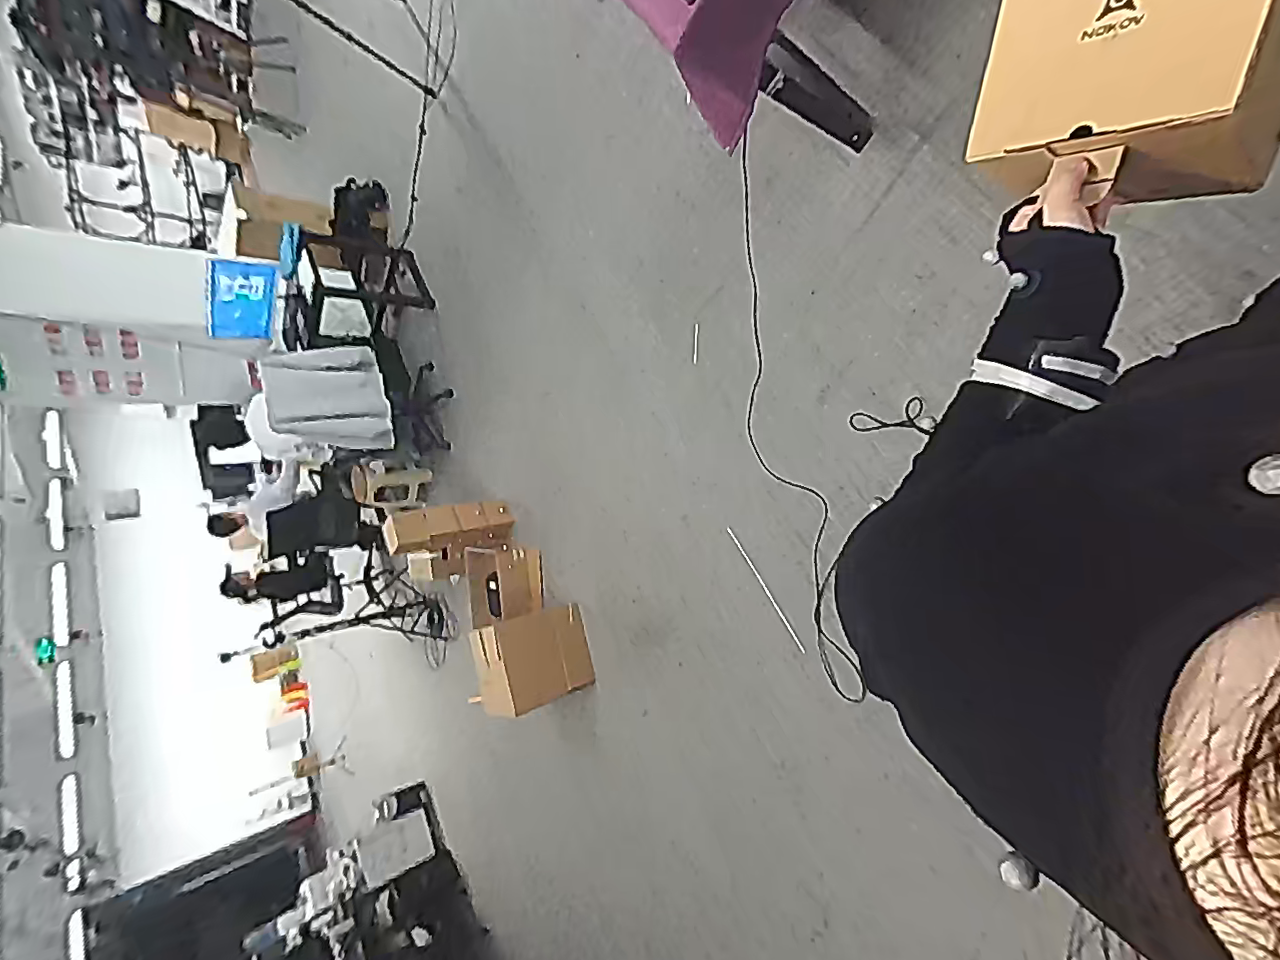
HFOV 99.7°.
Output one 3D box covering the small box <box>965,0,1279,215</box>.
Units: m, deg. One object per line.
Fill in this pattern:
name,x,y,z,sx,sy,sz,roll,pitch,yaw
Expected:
small box,0.405,-0.339,0.440,0.168,0.176,0.179,22,110,49
